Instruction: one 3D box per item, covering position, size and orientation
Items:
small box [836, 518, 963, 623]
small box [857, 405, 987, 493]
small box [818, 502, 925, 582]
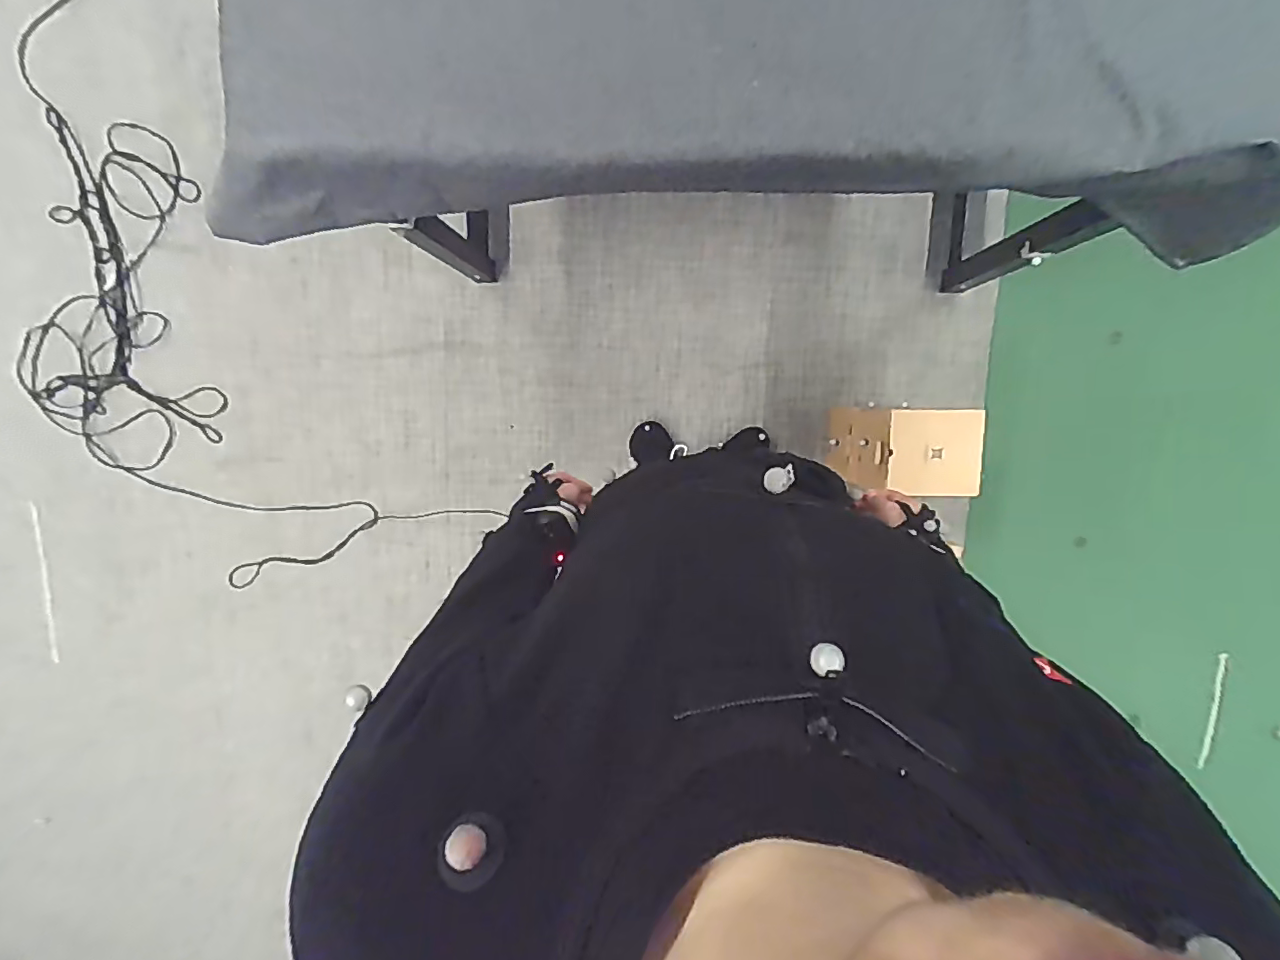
[{"bbox_3d":[0.529,0.179,1.124,0.179,0.176,0.168,7,97,4],"label":"small box"},{"bbox_3d":[0.557,-0.068,1.088,0.179,0.176,0.168,0,98,4],"label":"small box"},{"bbox_3d":[0.542,0.151,1.286,0.179,0.176,0.168,7,97,5],"label":"small box"}]
